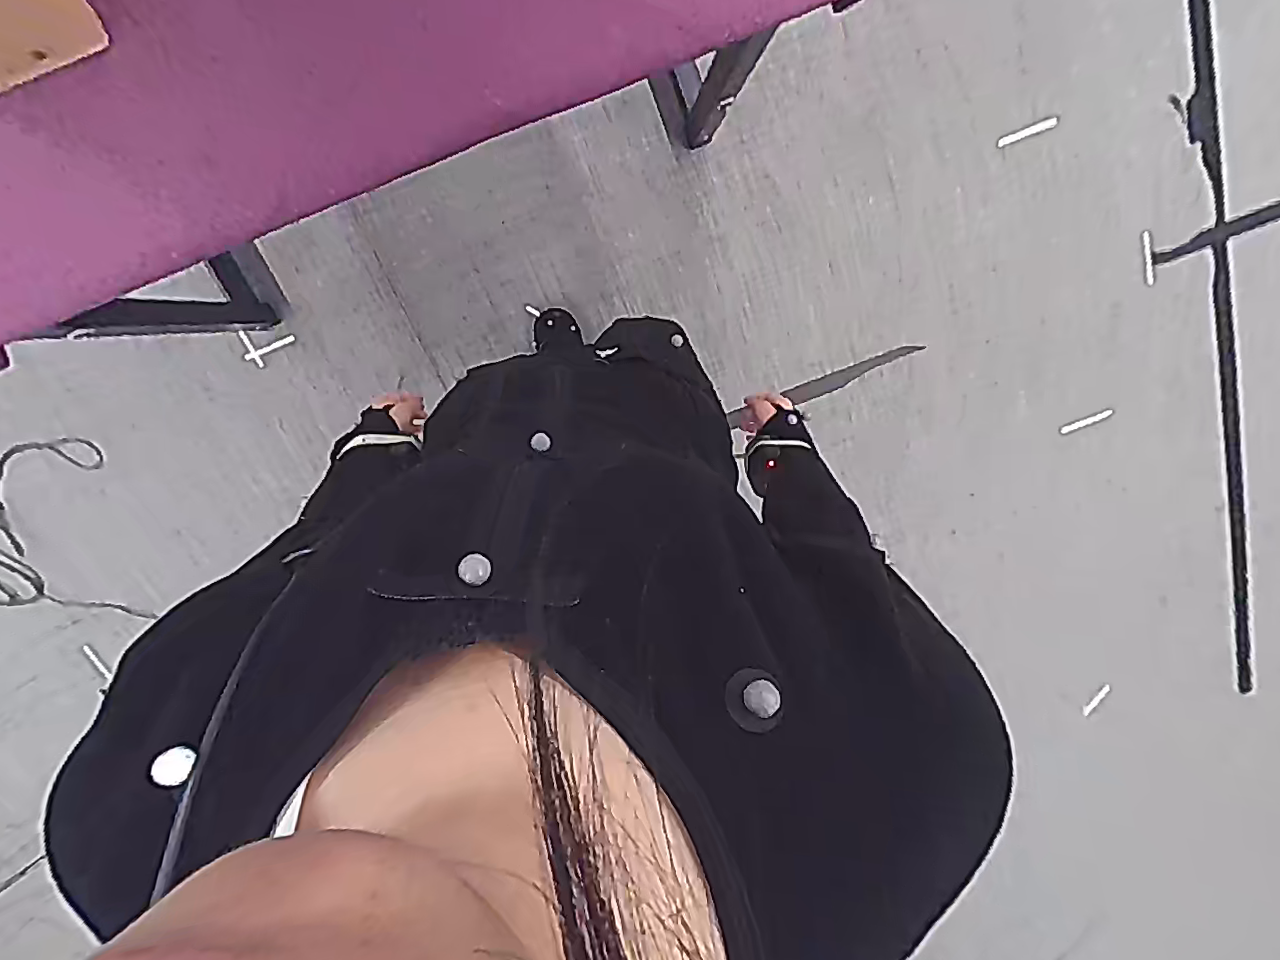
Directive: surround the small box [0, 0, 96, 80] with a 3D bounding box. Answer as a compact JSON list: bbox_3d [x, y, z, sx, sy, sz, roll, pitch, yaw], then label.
[{"bbox_3d":[-0.659,-0.484,0.471,0.168,0.176,0.179,-21,106,2],"label":"small box"}]
